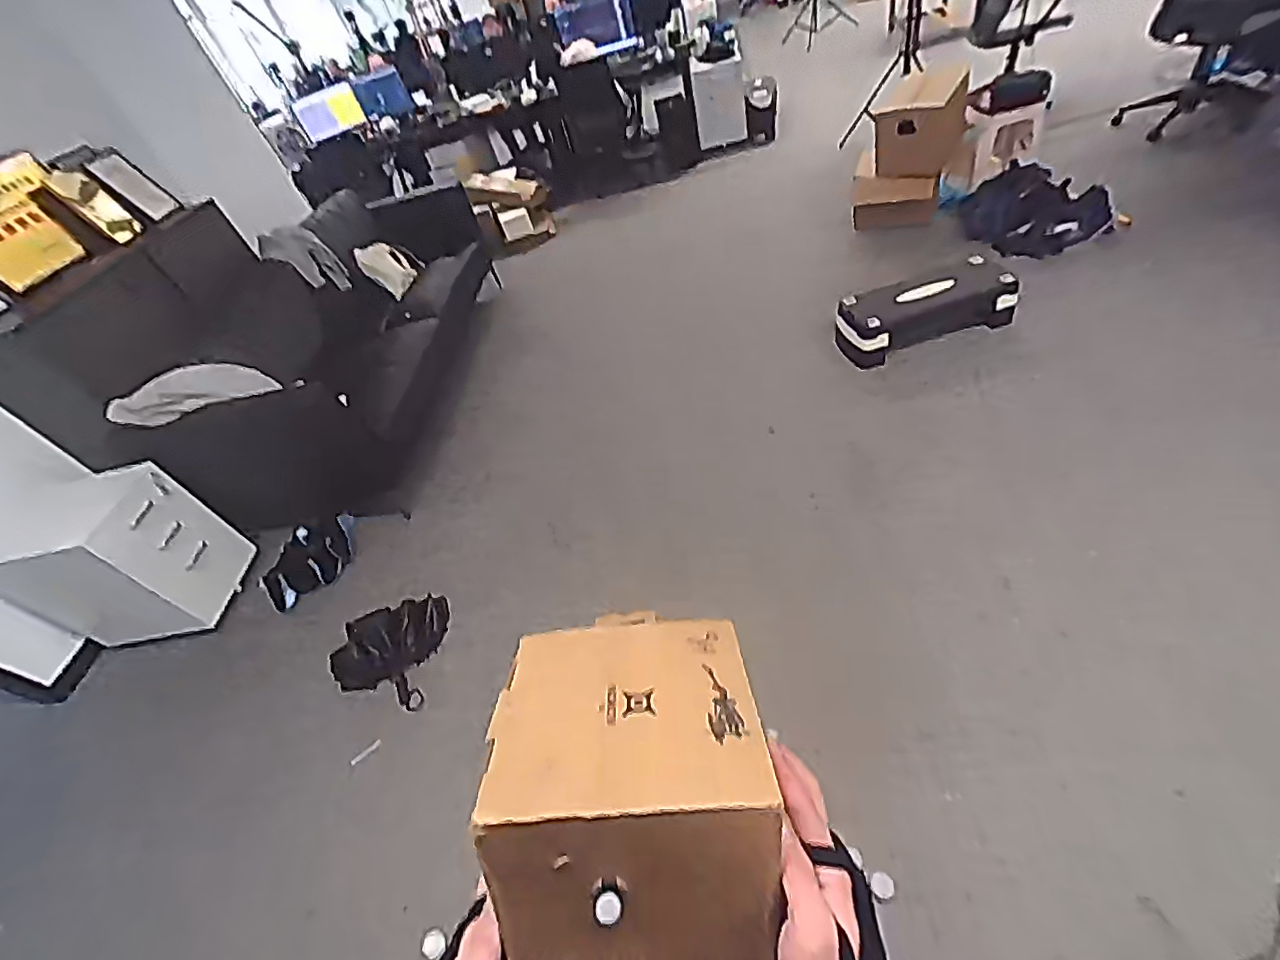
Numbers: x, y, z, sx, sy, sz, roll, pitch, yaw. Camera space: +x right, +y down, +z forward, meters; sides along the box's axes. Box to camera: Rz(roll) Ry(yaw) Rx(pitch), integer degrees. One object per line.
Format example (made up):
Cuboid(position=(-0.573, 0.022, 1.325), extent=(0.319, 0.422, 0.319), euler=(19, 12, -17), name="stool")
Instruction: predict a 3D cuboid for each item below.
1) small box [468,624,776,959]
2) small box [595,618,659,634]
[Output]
Cuboid(position=(-0.003, 0.231, 0.398), extent=(0.179, 0.176, 0.168), euler=(-5, 22, 1), name="small box")
Cuboid(position=(-0.021, 0.484, 1.406), extent=(0.168, 0.176, 0.179), euler=(-10, 45, 11), name="small box")
